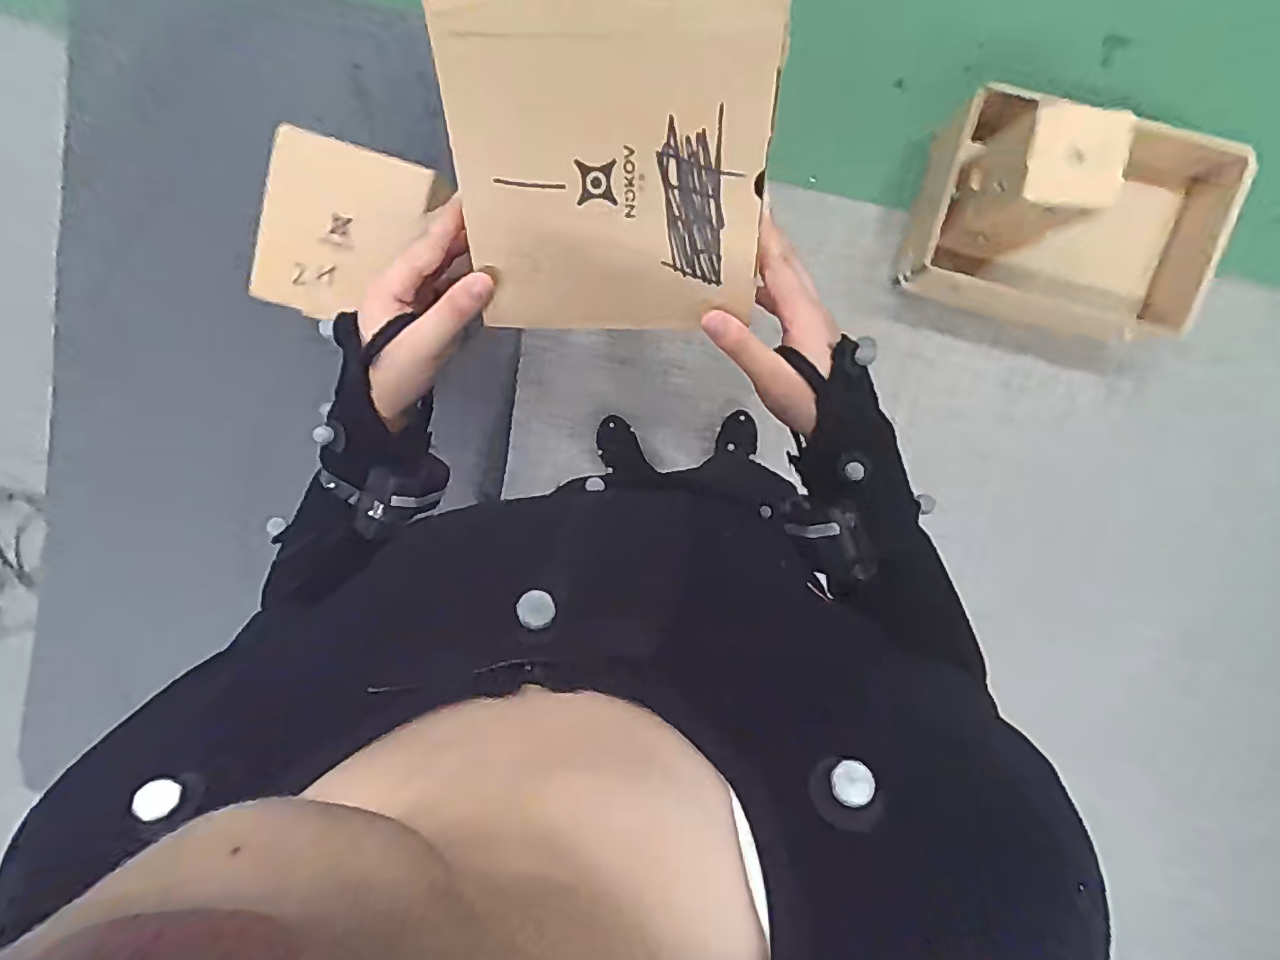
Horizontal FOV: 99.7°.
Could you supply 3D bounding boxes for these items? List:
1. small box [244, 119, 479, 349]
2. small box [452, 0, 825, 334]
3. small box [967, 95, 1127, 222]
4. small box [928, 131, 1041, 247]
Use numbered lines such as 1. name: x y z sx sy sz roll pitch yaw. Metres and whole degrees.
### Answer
1. small box: -0.302 -0.262 0.621 0.168 0.176 0.179 17 100 1
2. small box: -0.001 -0.208 0.358 0.179 0.176 0.168 2 126 1
3. small box: 0.786 -0.621 1.065 0.179 0.176 0.168 4 101 -2
4. small box: 0.794 -0.648 1.227 0.179 0.176 0.168 15 100 -1
